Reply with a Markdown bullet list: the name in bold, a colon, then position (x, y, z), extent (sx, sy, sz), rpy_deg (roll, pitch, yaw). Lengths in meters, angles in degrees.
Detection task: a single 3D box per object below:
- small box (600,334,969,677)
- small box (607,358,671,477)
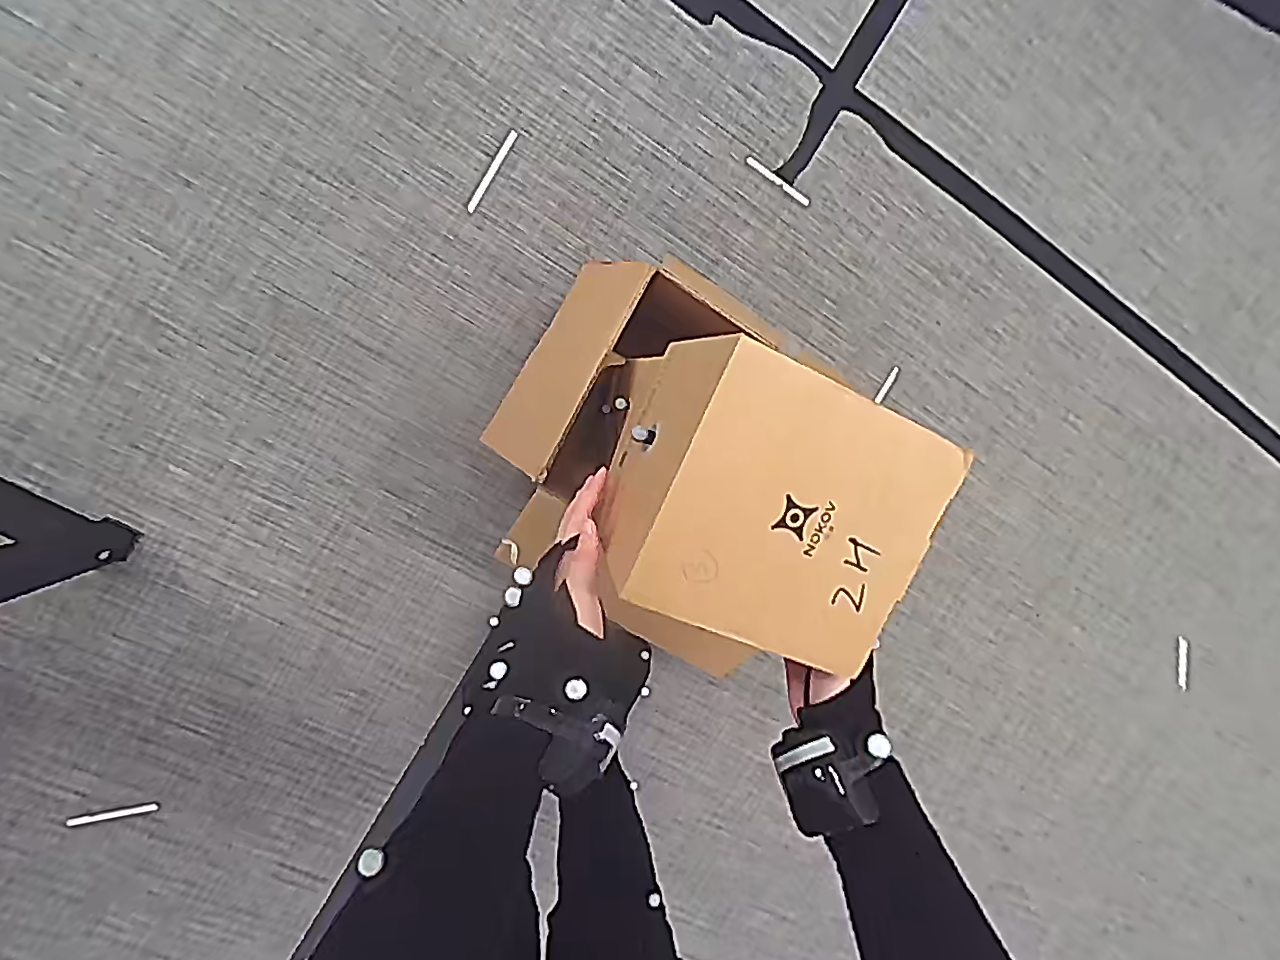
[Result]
- **small box**: position (0.082, 0.009, 0.402), extent (0.179, 0.176, 0.168), rpy_deg (23, 98, -15)
- **small box**: position (0.058, -0.062, 0.724), extent (0.179, 0.176, 0.168), rpy_deg (8, 100, -13)
